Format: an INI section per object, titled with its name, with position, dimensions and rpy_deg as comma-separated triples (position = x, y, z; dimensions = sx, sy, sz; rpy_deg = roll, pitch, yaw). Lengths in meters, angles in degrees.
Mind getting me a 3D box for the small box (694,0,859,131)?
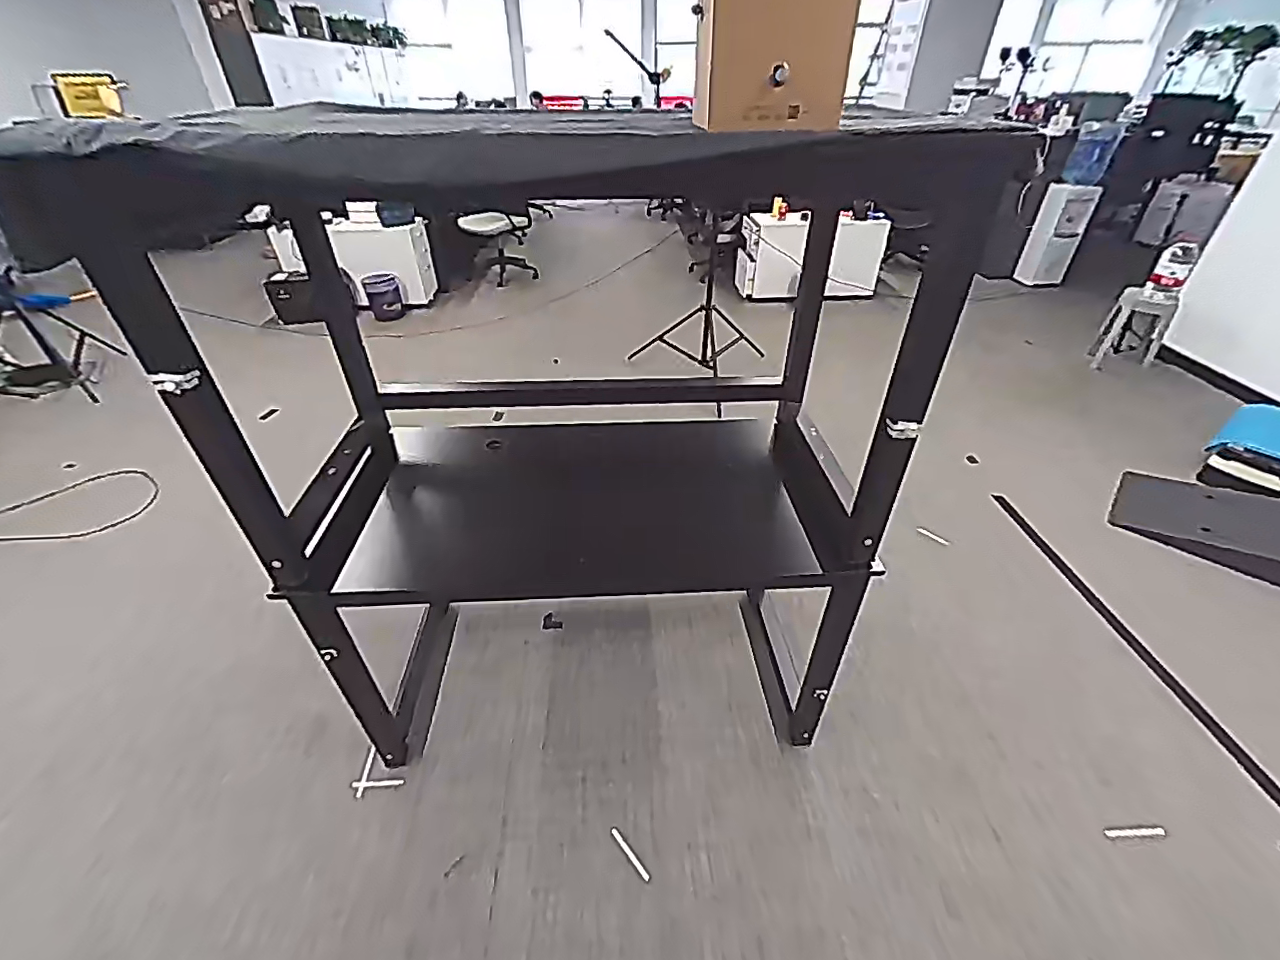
[small box]
position = 0.160, -0.549, 0.686
dimensions = 0.168, 0.176, 0.179
rpy_deg = -2, 36, -1
